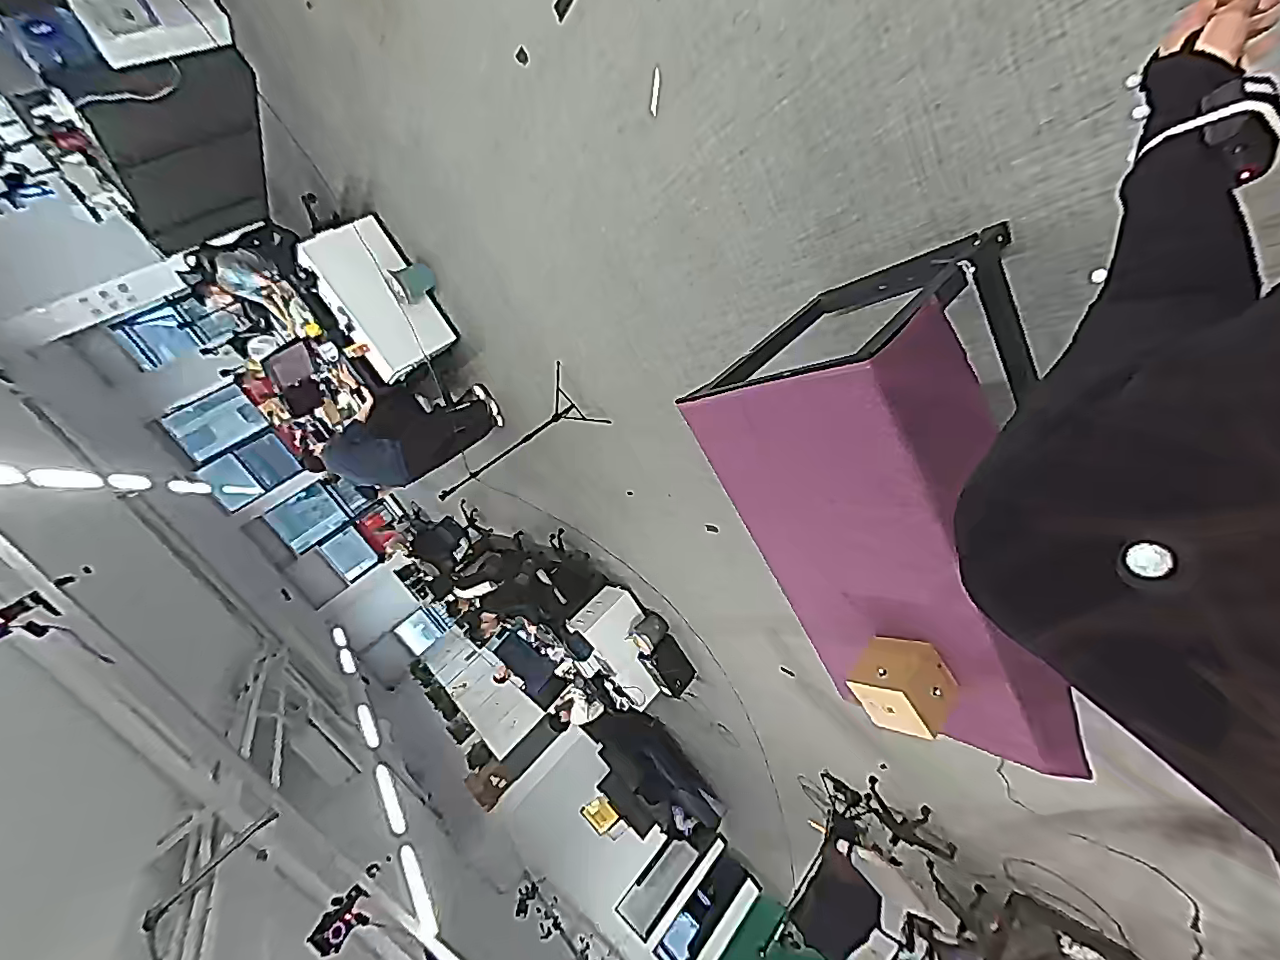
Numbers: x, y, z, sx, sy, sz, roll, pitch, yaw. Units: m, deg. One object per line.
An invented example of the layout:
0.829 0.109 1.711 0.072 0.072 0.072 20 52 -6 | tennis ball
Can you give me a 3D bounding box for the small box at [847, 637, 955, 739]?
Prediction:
0.690 0.533 1.415 0.168 0.176 0.179 55 153 -10 | small box
